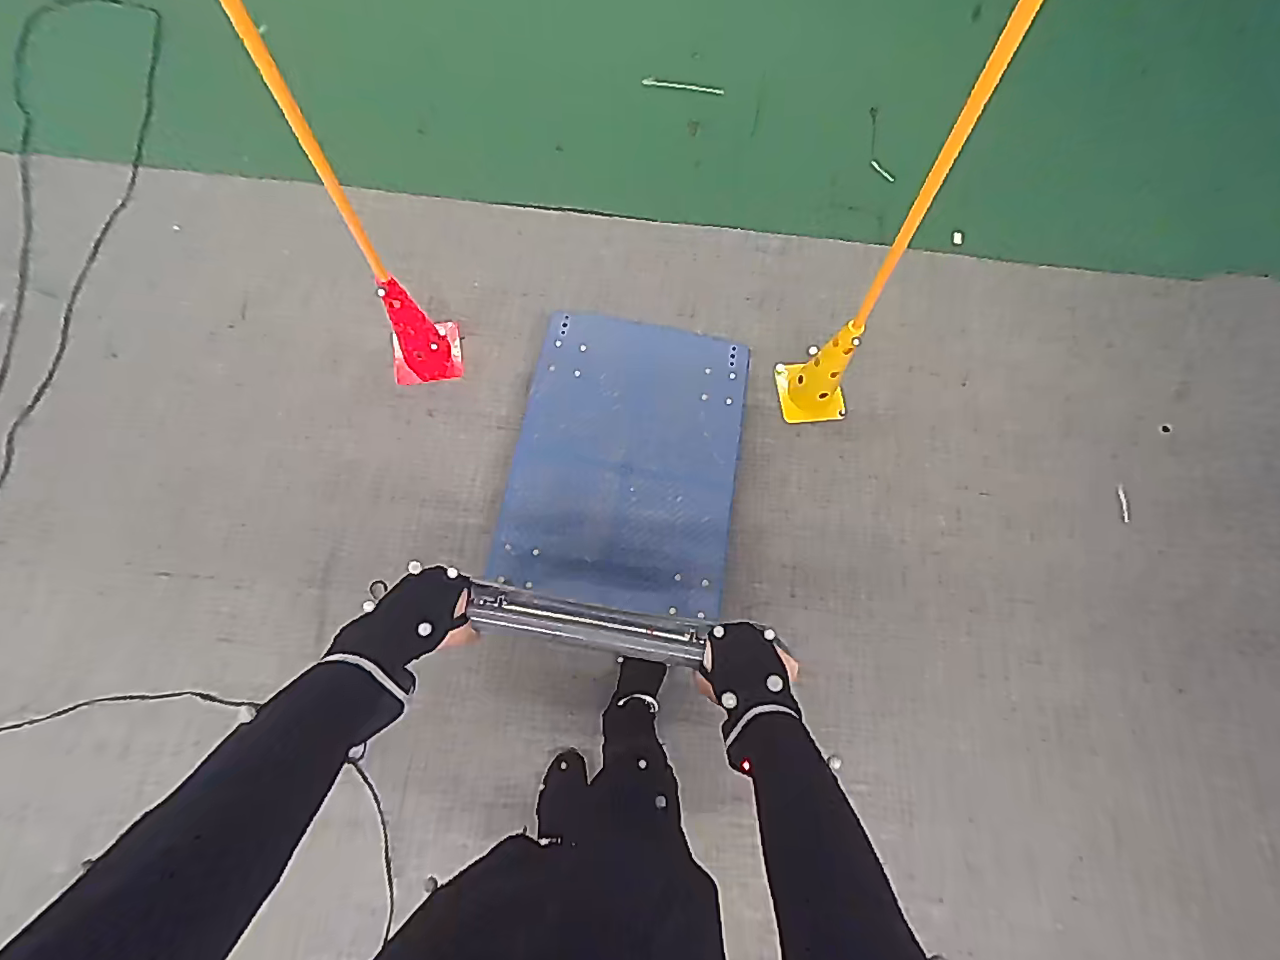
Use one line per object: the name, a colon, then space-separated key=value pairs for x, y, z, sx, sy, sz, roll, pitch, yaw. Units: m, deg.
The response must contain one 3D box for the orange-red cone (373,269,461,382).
orange-red cone: x=-0.642 y=-0.445 z=1.484 sx=0.199 sy=0.360 sz=0.198 roll=-9 pitch=72 yaw=-5
